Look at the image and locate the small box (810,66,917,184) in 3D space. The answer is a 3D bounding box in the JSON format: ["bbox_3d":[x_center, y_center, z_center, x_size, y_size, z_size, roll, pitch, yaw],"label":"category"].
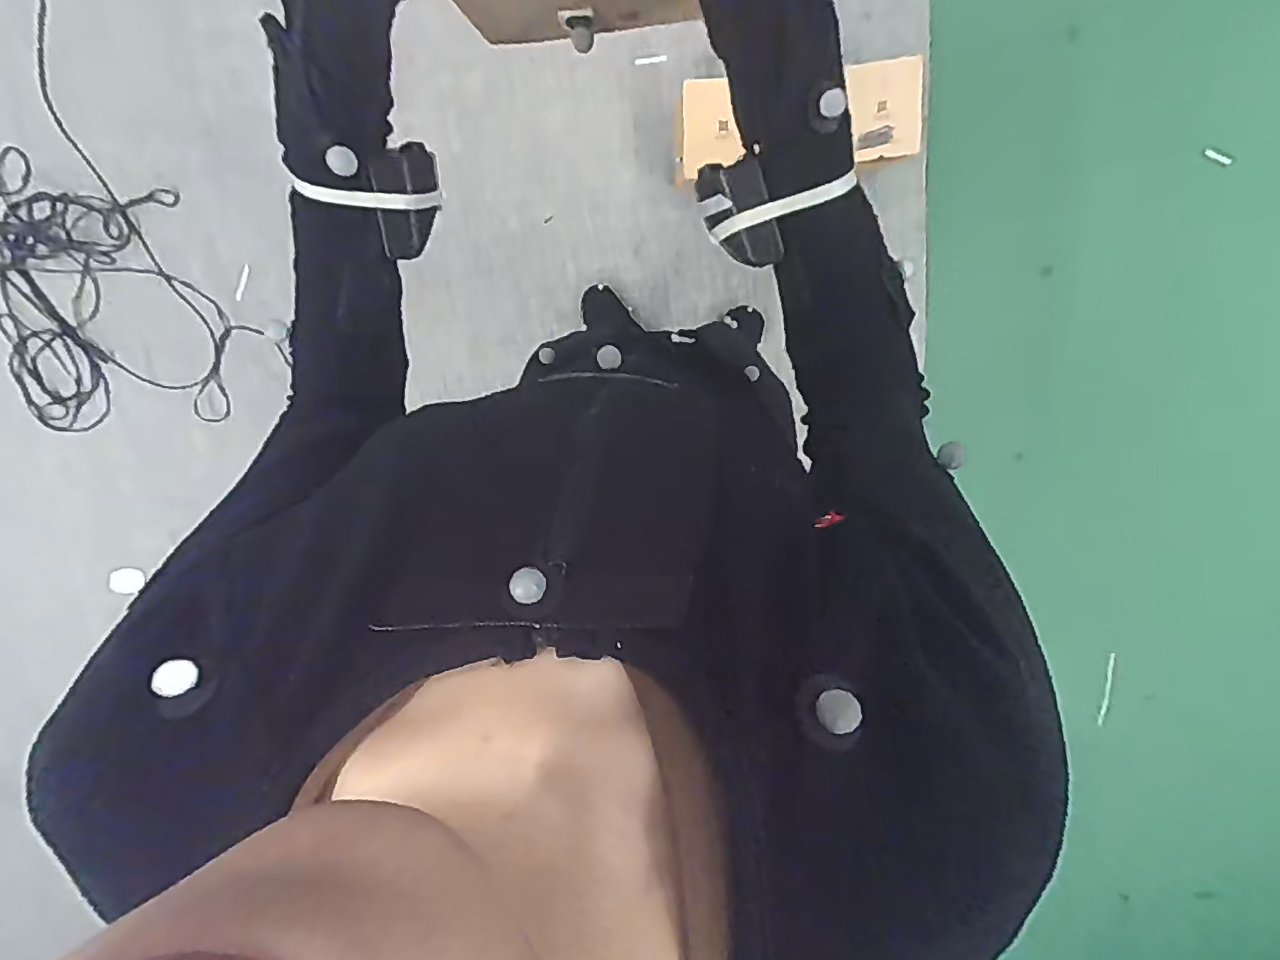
[{"bbox_3d":[0.479,-0.761,1.180,0.168,0.176,0.179,-9,109,1],"label":"small box"}]

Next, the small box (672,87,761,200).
[{"bbox_3d":[0.161,-0.724,1.179,0.168,0.176,0.179,-4,111,-1],"label":"small box"}]
